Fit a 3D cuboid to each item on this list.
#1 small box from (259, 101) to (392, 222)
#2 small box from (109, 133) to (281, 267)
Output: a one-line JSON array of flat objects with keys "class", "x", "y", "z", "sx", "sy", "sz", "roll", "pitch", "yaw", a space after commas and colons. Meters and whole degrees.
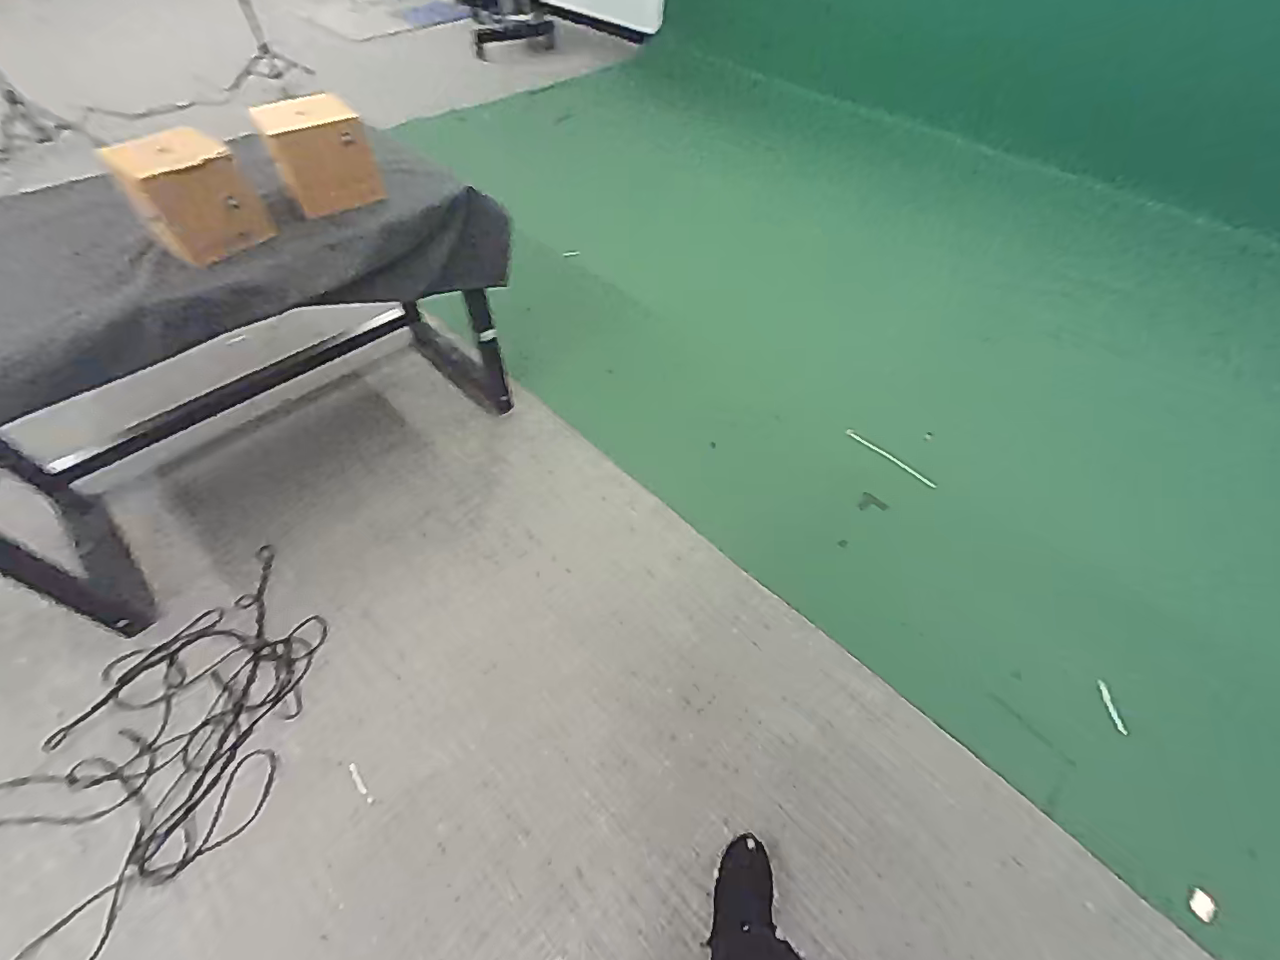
[{"class": "small box", "x": -0.672, "y": -0.686, "z": 1.170, "sx": 0.179, "sy": 0.176, "sz": 0.168, "roll": -30, "pitch": 58, "yaw": -23}, {"class": "small box", "x": -0.851, "y": -0.539, "z": 1.052, "sx": 0.179, "sy": 0.176, "sz": 0.168, "roll": 32, "pitch": 57, "yaw": 22}]
